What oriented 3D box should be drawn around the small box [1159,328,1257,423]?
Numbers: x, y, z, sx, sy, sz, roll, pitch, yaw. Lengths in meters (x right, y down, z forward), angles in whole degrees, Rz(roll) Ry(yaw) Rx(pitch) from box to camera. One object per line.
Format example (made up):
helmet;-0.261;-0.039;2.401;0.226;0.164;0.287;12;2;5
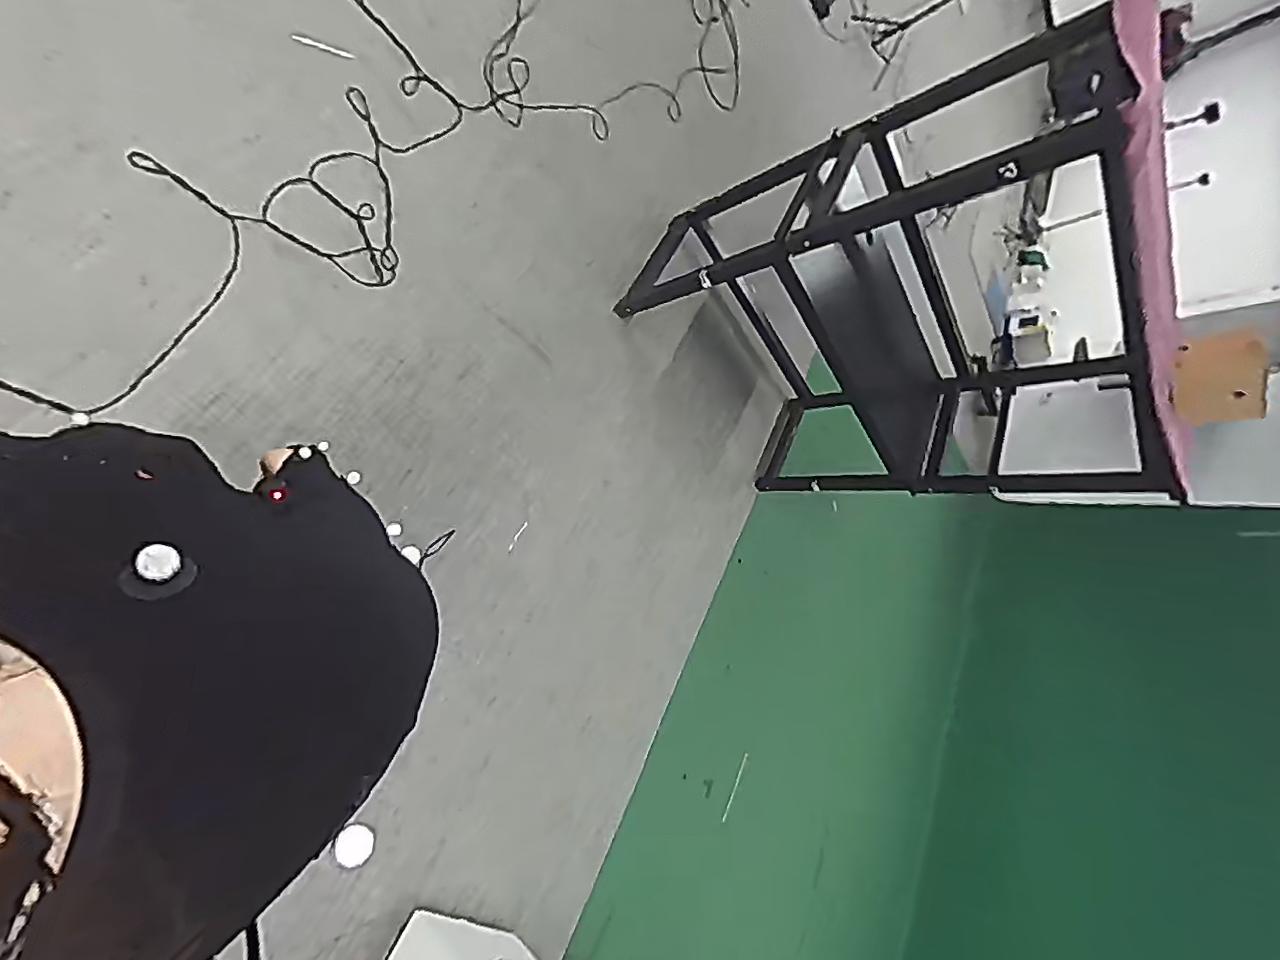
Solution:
small box;1.508;-0.269;1.442;0.179;0.176;0.168;47;58;-33
